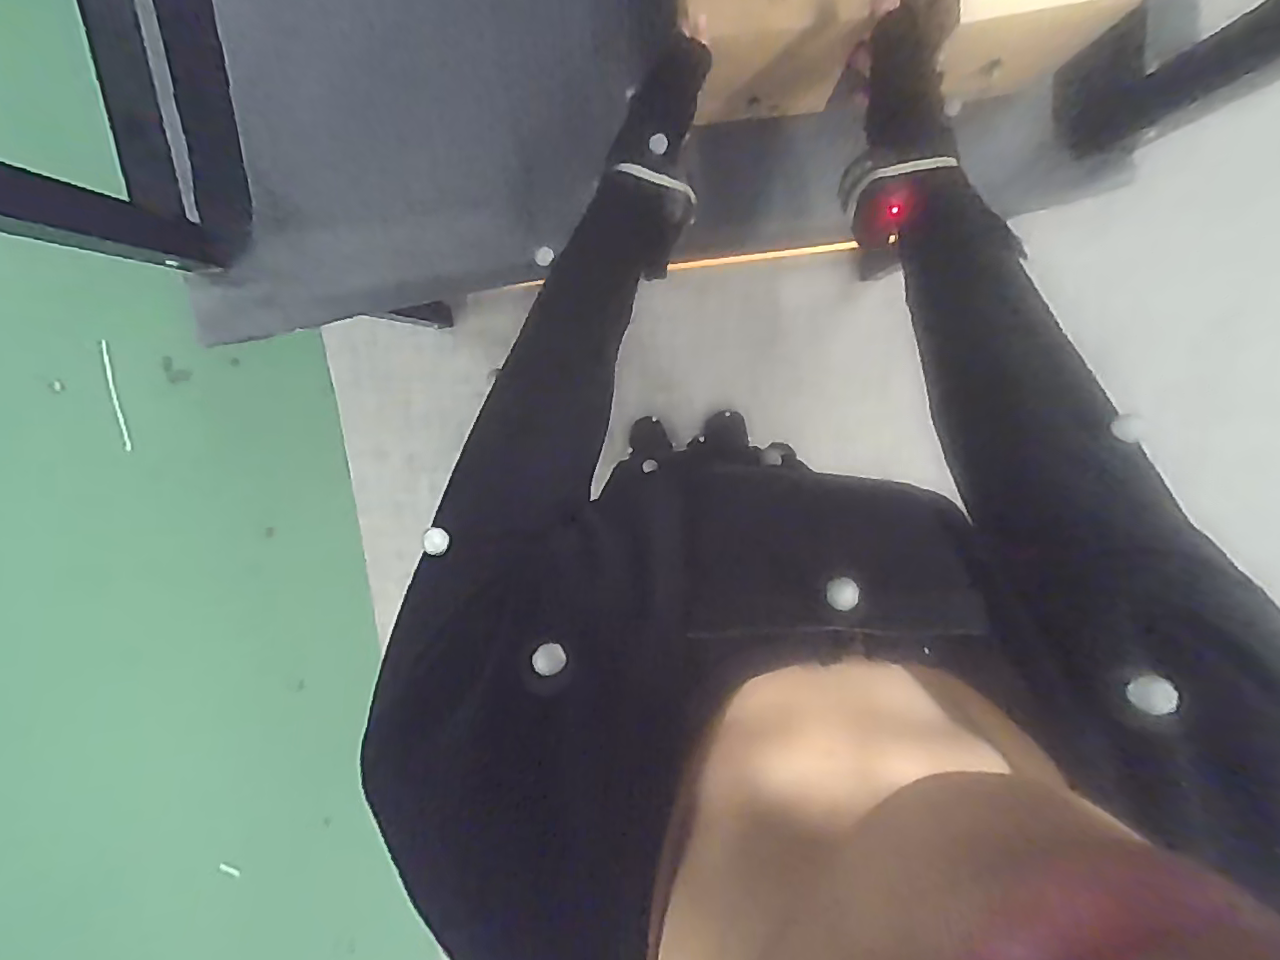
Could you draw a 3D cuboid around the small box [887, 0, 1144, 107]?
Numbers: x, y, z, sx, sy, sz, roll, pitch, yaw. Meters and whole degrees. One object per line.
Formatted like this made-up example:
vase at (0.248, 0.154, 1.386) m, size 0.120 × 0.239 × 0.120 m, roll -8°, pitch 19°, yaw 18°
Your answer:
small box at (0.364, -0.512, 0.547) m, size 0.168 × 0.176 × 0.179 m, roll -7°, pitch 99°, yaw 5°
